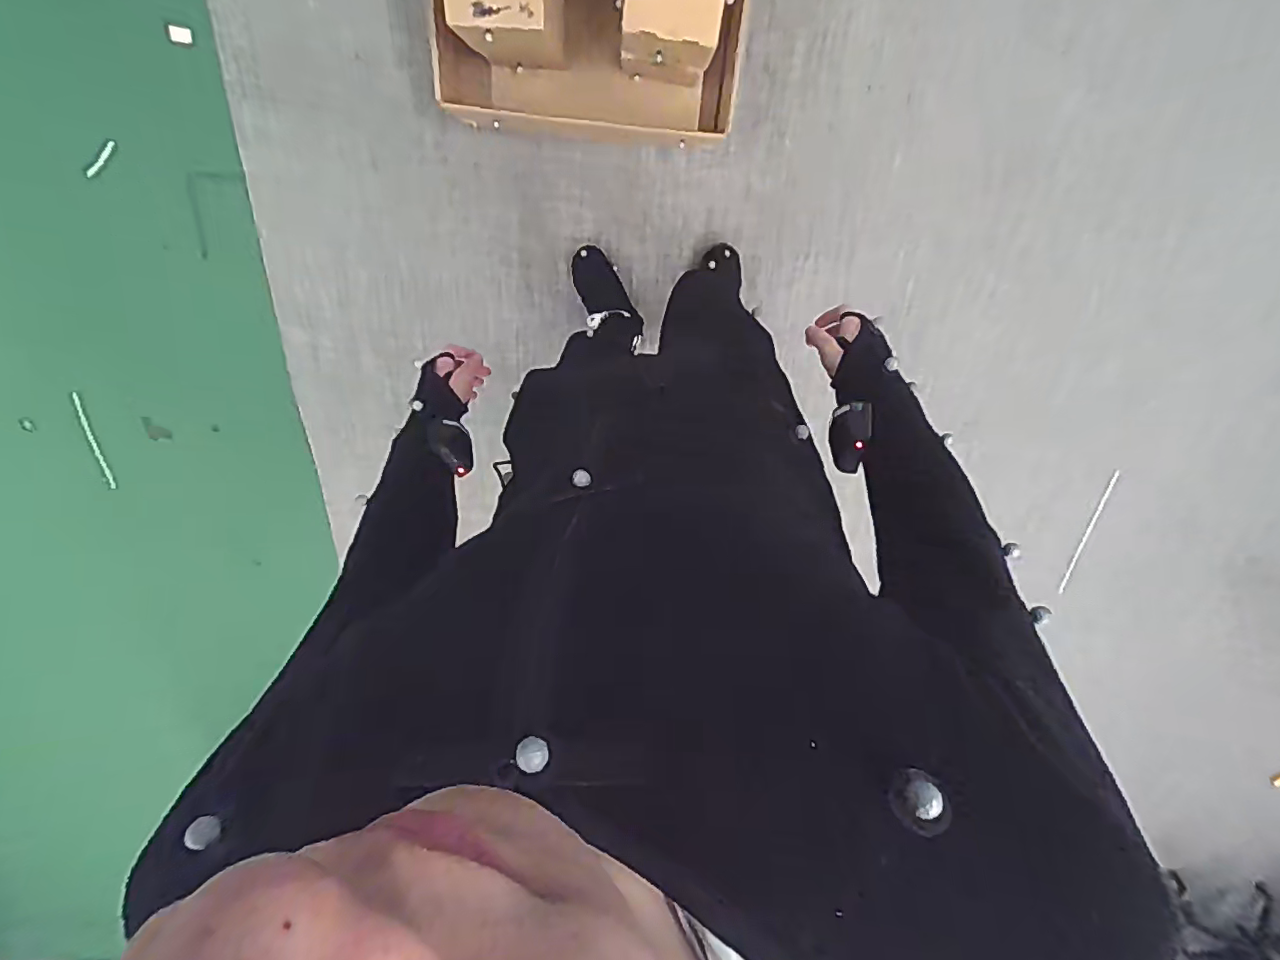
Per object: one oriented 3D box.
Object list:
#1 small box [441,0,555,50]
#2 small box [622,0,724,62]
[{"bbox_3d":[-0.239,-0.871,0.924,0.168,0.176,0.179,3,116,0],"label":"small box"},{"bbox_3d":[0.060,-0.861,0.934,0.168,0.176,0.179,7,118,-5],"label":"small box"}]
